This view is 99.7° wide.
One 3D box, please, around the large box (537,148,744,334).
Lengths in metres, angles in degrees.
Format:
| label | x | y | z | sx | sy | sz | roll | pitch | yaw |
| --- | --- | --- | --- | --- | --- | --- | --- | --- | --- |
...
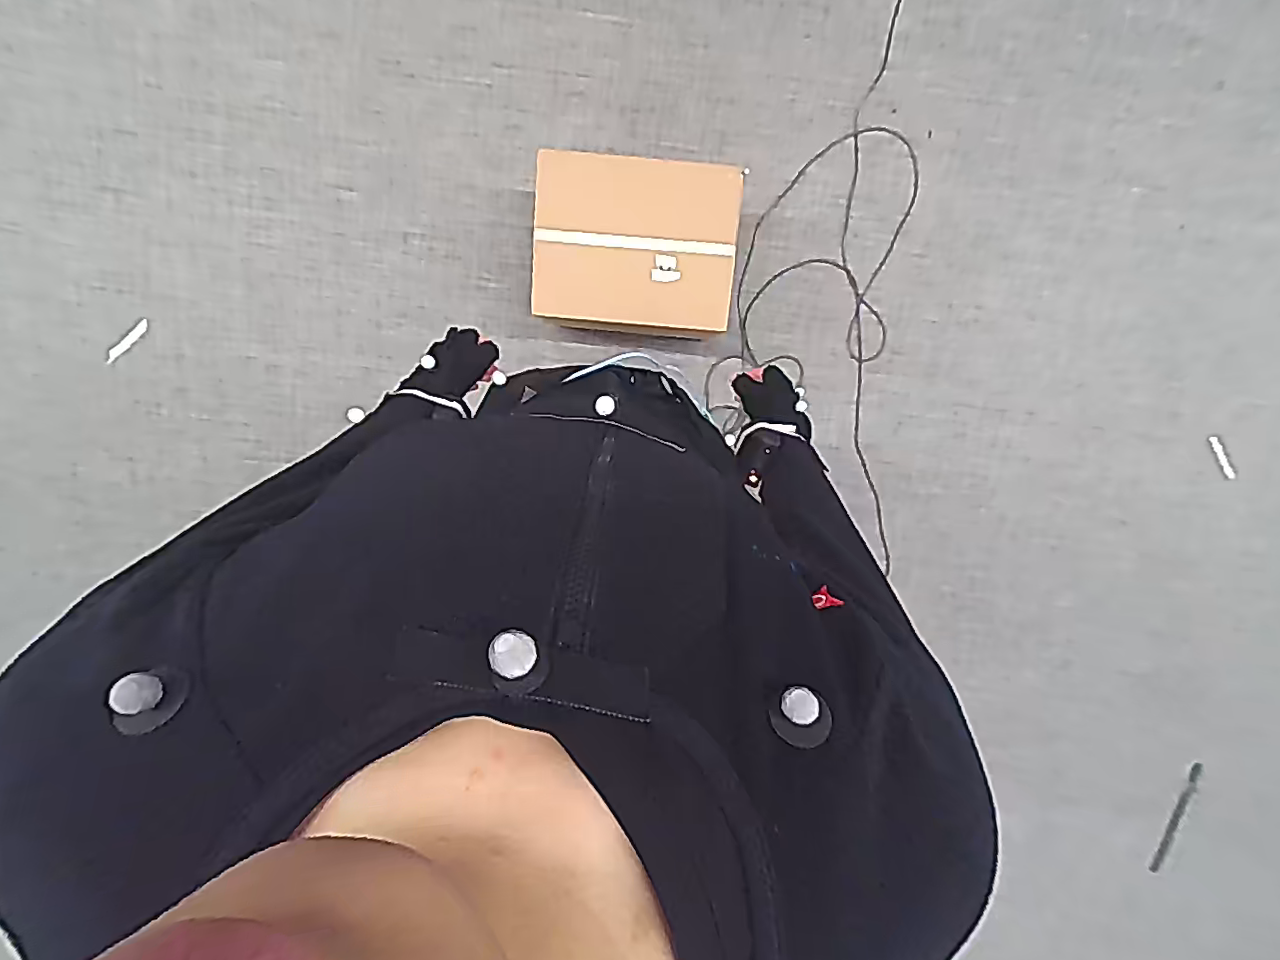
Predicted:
| label | x | y | z | sx | sy | sz | roll | pitch | yaw |
| --- | --- | --- | --- | --- | --- | --- | --- | --- | --- |
| large box | -0.007 | -0.513 | 1.229 | 0.408 | 0.320 | 0.320 | 5 | 102 | -1 |
